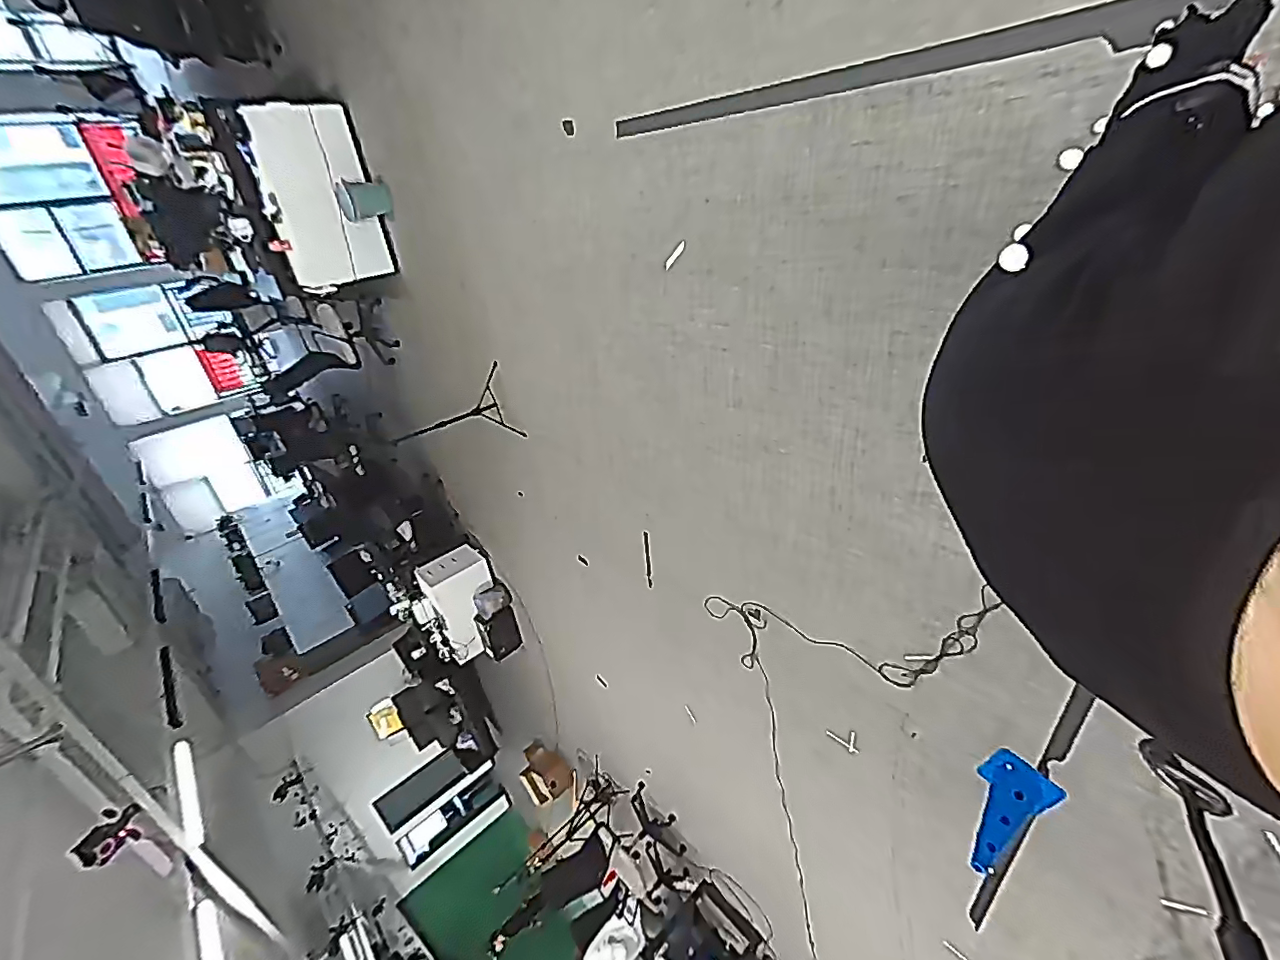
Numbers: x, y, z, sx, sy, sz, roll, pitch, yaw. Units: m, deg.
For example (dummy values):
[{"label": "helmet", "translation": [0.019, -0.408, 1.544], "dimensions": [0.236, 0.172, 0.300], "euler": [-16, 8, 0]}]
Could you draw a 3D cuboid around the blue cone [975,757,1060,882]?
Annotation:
[{"label": "blue cone", "translation": [1.124, 1.075, 1.686], "dimensions": [0.192, 0.380, 0.193], "euler": [38, 140, 29]}]
